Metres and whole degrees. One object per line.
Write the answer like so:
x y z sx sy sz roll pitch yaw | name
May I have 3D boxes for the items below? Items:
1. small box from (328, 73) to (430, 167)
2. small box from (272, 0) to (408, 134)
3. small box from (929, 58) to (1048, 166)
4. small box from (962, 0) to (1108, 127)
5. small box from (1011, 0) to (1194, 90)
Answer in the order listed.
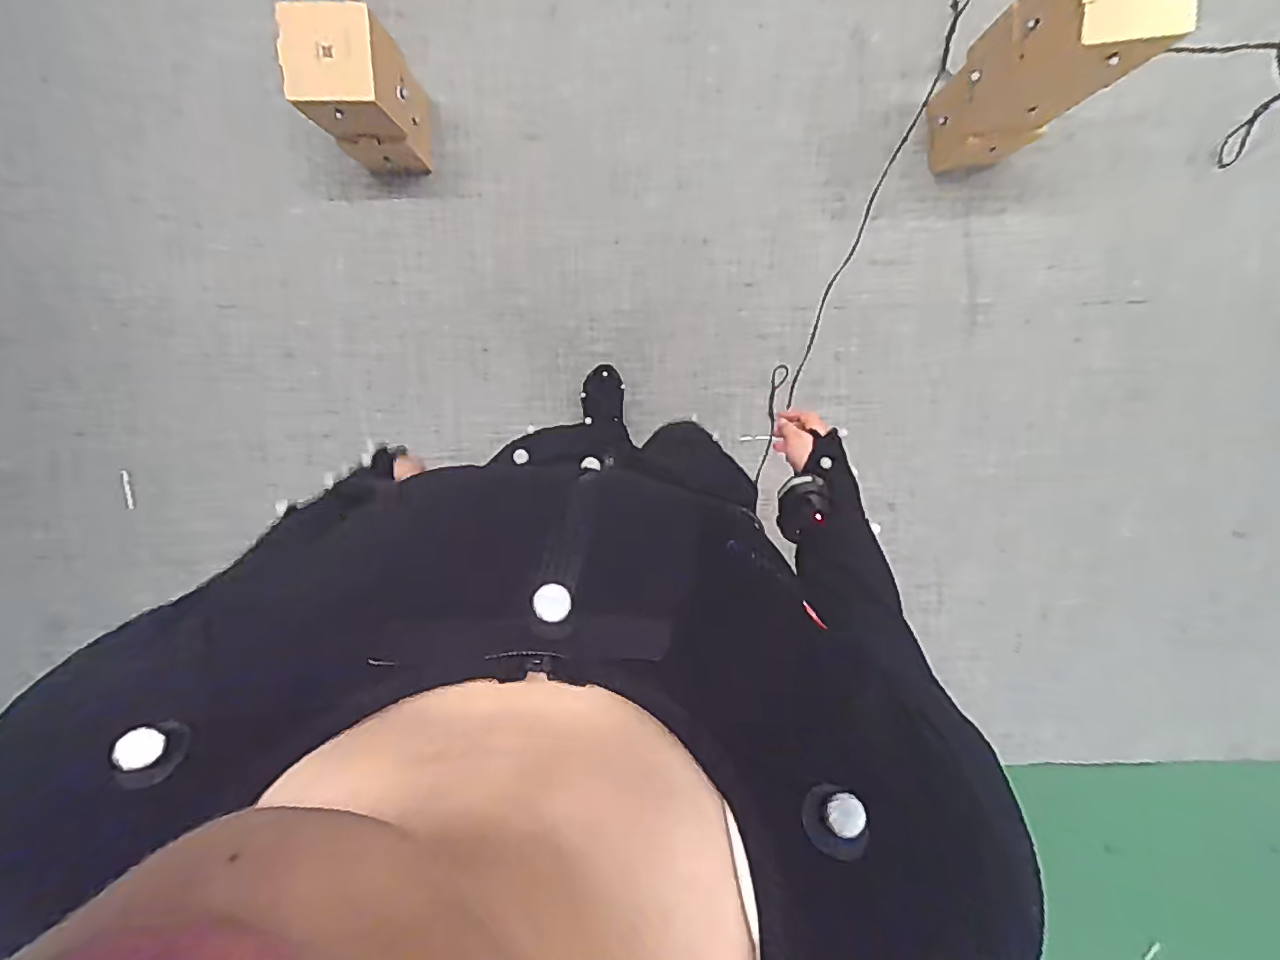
-0.602 -0.845 1.252 0.168 0.176 0.179 0 101 1 | small box
-0.595 -0.822 1.091 0.179 0.176 0.168 0 101 0 | small box
0.781 -0.840 1.230 0.179 0.176 0.168 -9 101 2 | small box
0.773 -0.829 1.066 0.179 0.176 0.168 -5 100 3 | small box
0.766 -0.794 0.907 0.179 0.176 0.168 -6 100 3 | small box
